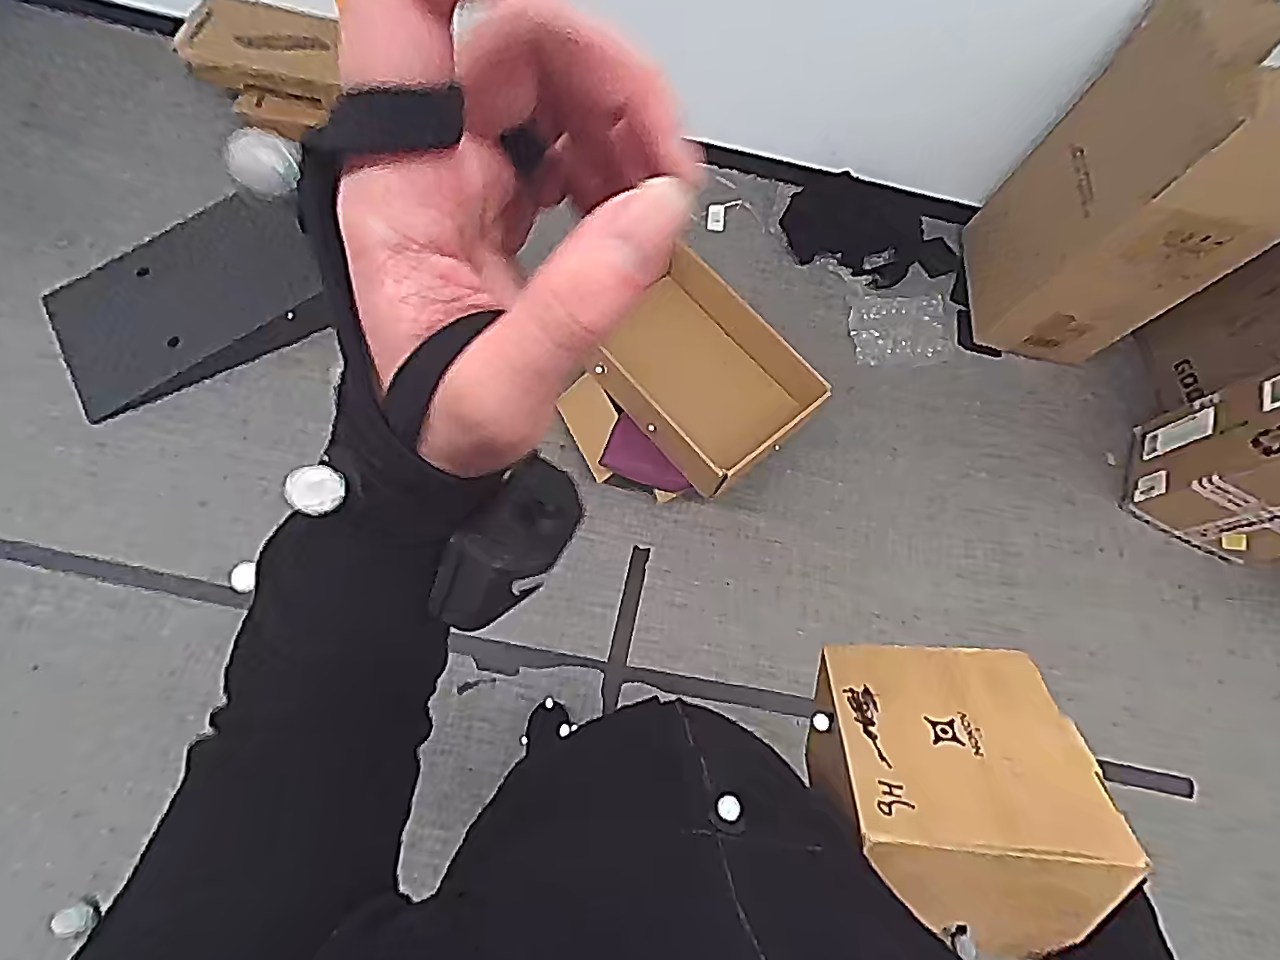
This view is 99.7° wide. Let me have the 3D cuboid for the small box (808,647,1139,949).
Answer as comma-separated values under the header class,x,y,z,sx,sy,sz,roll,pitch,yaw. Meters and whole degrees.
class,x,y,z,sx,sy,sz,roll,pitch,yaw
small box,0.255,0.271,0.471,0.179,0.176,0.168,1,32,8
